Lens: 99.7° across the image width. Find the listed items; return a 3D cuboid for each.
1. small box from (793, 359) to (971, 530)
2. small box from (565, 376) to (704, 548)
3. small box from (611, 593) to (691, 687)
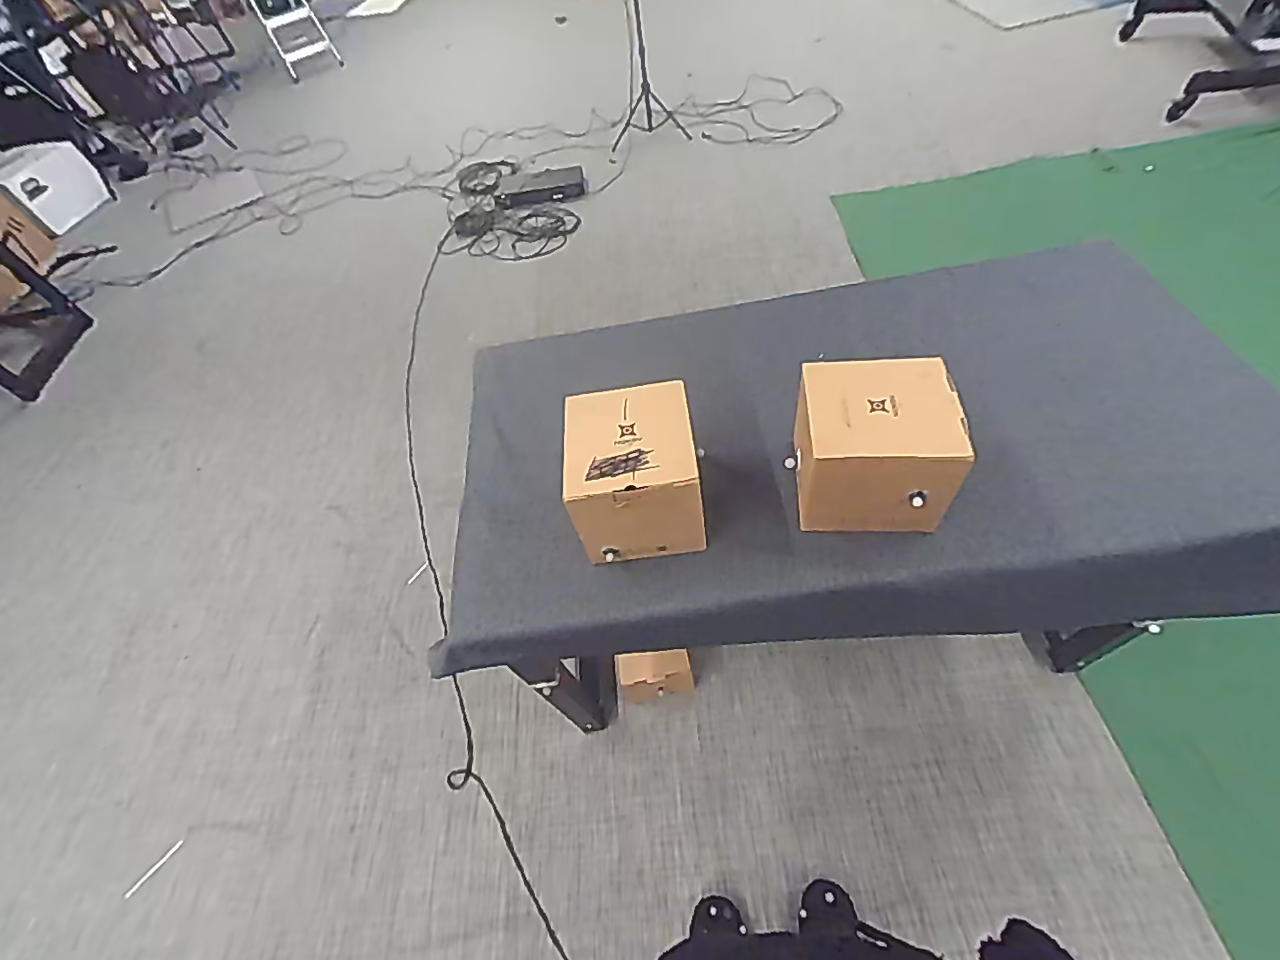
[{"bbox_3d":[0.307,-0.043,0.730,0.179,0.176,0.168,0,54,10],"label":"small box"},{"bbox_3d":[-0.003,-0.016,0.757,0.168,0.176,0.179,-7,53,4],"label":"small box"},{"bbox_3d":[0.030,0.409,1.356,0.168,0.176,0.179,-12,55,1],"label":"small box"}]
